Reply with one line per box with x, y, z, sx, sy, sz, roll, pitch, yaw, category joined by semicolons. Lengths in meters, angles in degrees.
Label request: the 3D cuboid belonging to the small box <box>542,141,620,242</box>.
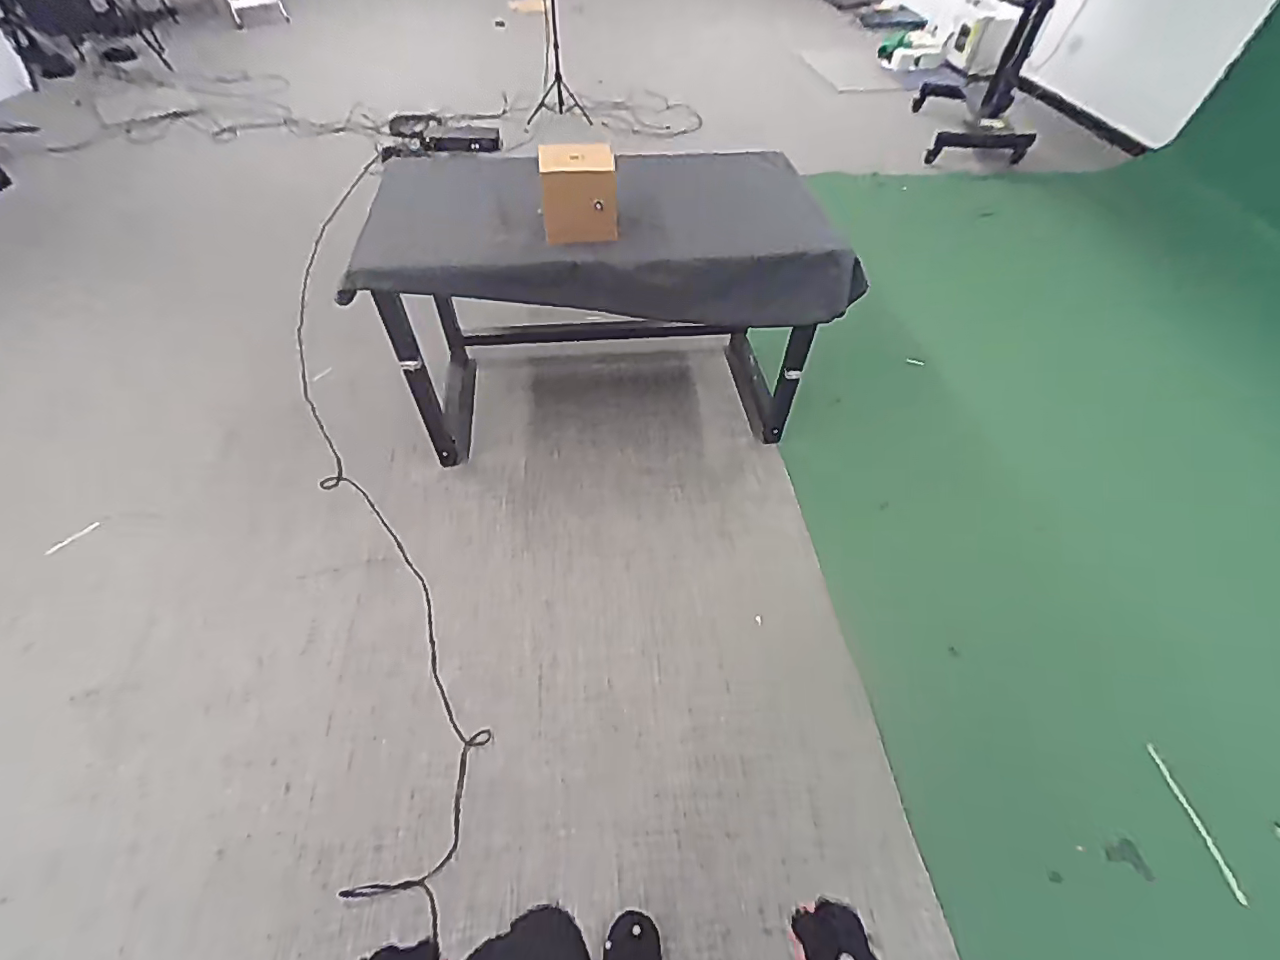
-0.143;-0.706;1.328;0.179;0.176;0.168;-6;51;-4;small box
